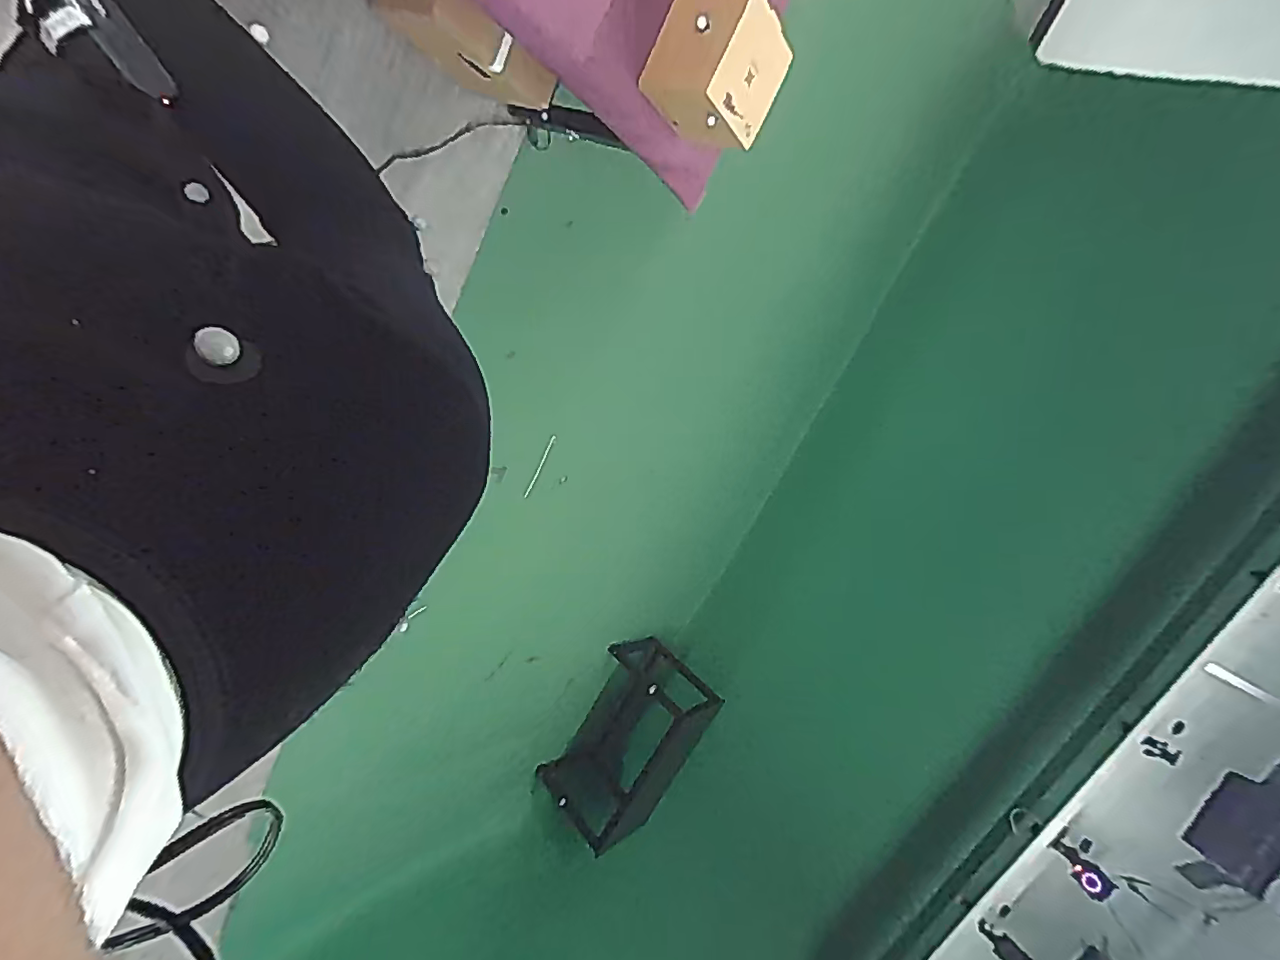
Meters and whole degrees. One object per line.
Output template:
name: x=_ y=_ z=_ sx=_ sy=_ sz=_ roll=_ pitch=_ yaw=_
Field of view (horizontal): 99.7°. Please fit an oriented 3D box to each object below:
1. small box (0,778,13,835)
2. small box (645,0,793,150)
small box: x=-1.743 y=0.906 z=1.377 sx=0.168 sy=0.176 sz=0.179 roll=18 pitch=104 yaw=-52
small box: x=0.138 y=-0.734 z=0.970 sx=0.168 sy=0.176 sz=0.179 roll=11 pitch=108 yaw=-53
